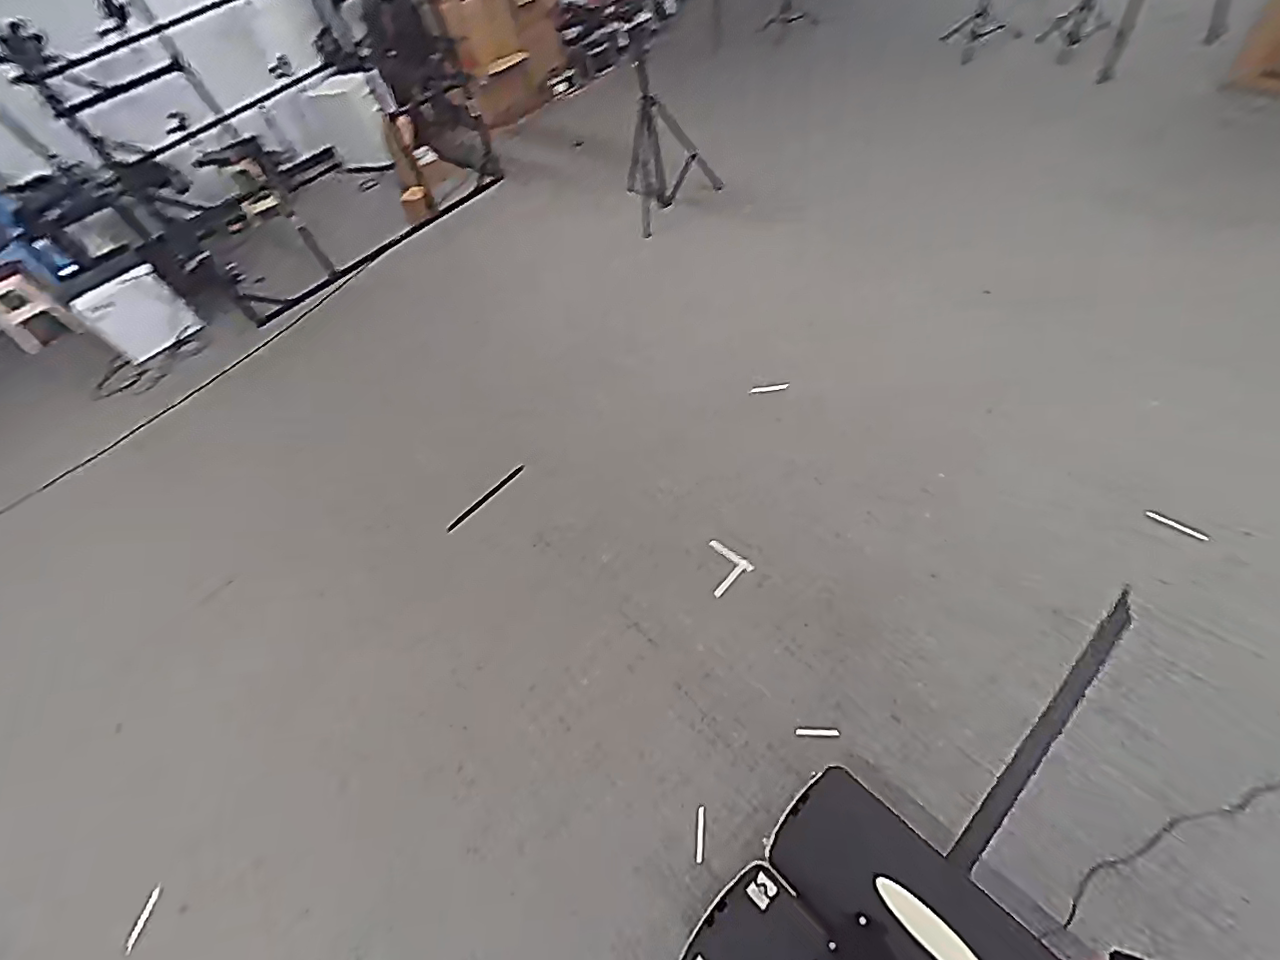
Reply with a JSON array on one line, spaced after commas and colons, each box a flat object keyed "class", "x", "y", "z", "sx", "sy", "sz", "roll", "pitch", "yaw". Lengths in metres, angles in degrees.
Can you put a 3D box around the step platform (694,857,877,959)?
[{"class": "step platform", "x": 0.427, "y": 1.098, "z": 1.020, "sx": 0.684, "sy": 0.204, "sz": 0.286, "roll": 33, "pitch": 67, "yaw": 34}]
